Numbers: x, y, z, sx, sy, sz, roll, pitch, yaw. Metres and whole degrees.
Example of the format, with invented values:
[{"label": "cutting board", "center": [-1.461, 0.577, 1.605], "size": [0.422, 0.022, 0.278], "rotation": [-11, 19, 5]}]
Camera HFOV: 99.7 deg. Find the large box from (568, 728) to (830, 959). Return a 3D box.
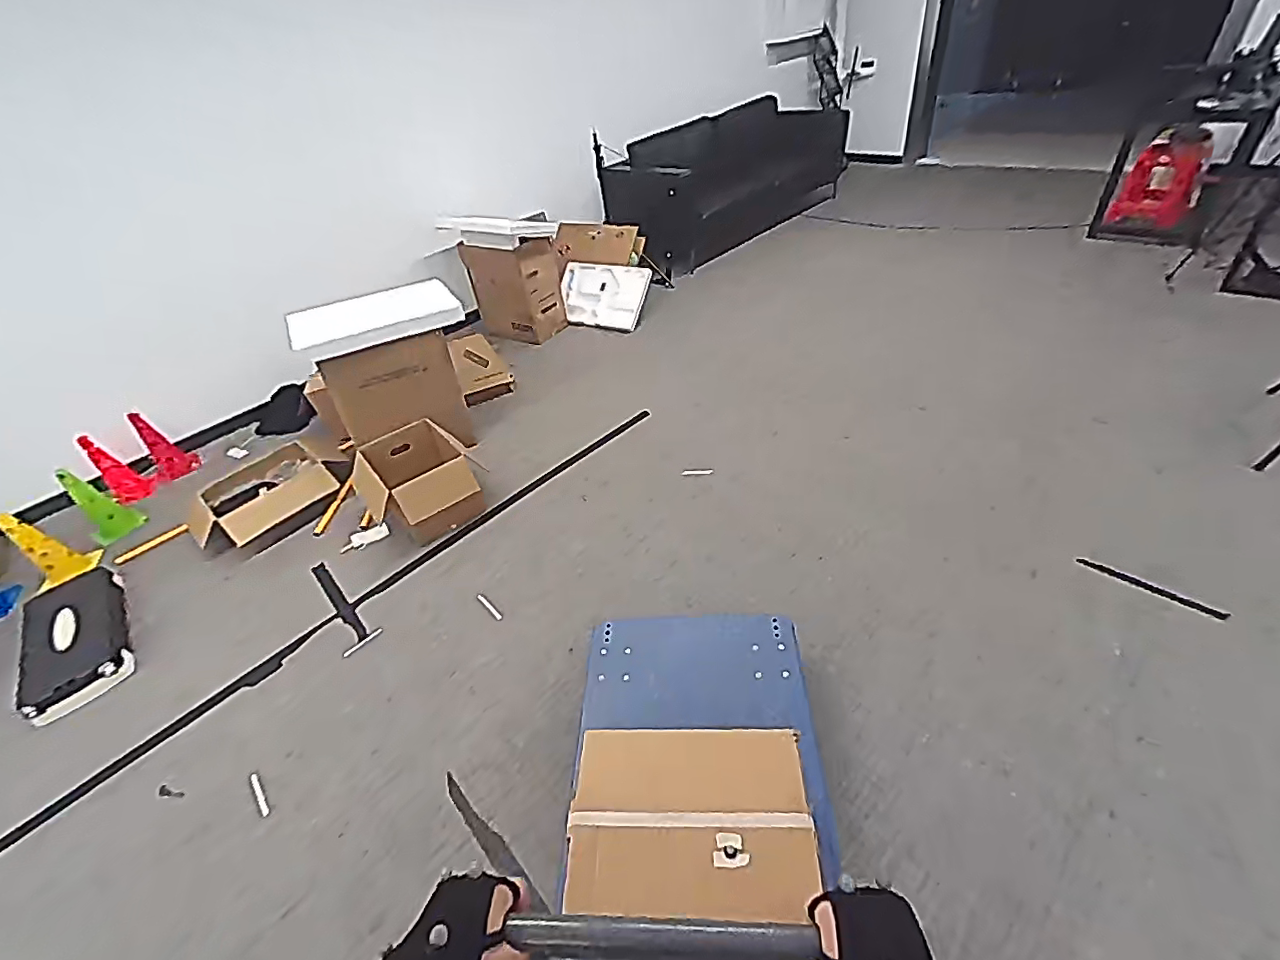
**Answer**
[{"label": "large box", "center": [0.101, 0.692, 1.017], "size": [0.408, 0.320, 0.320], "rotation": [-3, 41, 5]}]
